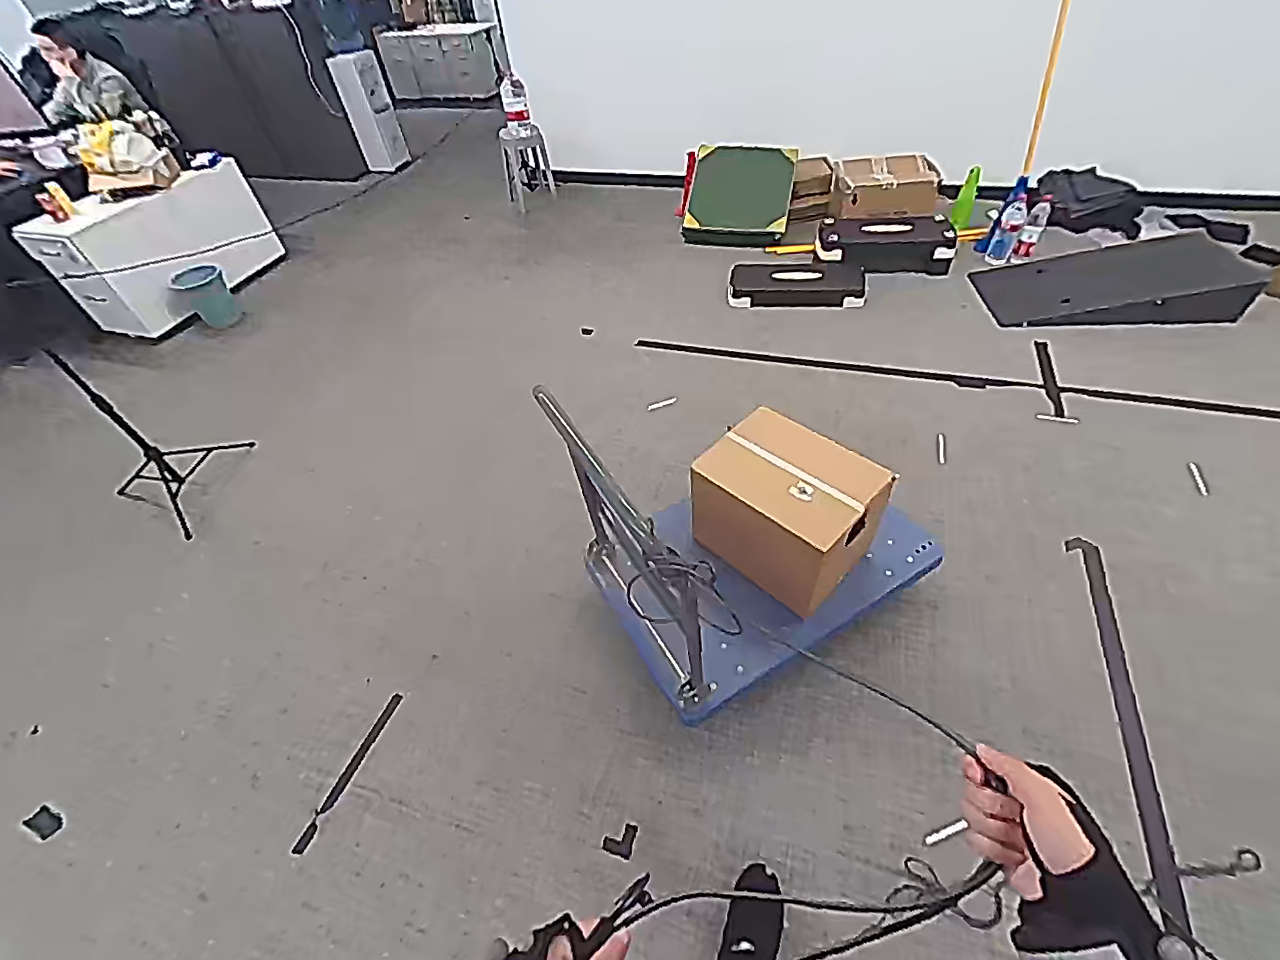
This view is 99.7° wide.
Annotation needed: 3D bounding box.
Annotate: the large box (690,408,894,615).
[{"bbox_3d":[0.380,0.076,1.451,0.408,0.320,0.320,35,61,30],"label":"large box"}]
